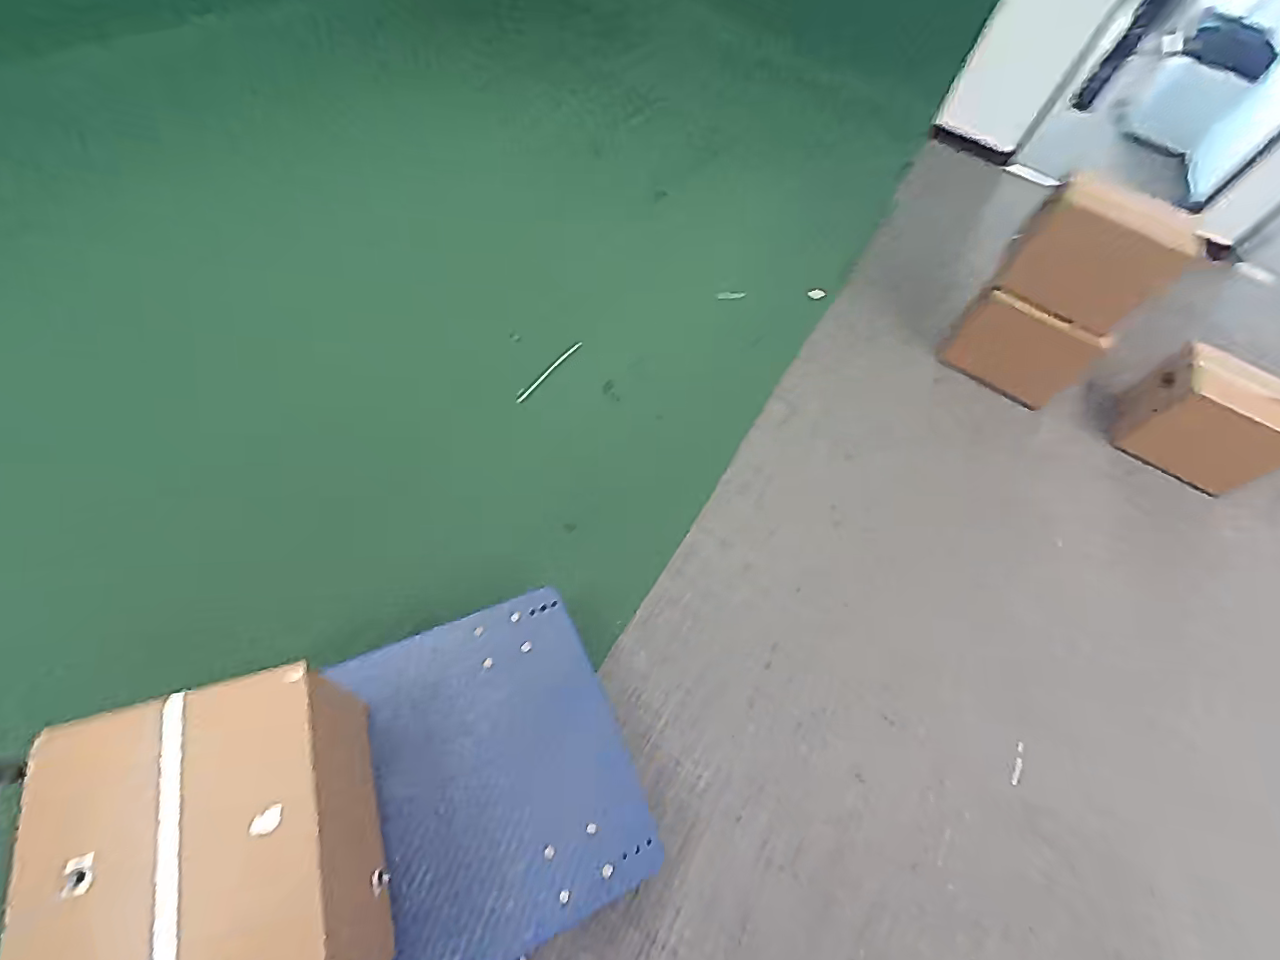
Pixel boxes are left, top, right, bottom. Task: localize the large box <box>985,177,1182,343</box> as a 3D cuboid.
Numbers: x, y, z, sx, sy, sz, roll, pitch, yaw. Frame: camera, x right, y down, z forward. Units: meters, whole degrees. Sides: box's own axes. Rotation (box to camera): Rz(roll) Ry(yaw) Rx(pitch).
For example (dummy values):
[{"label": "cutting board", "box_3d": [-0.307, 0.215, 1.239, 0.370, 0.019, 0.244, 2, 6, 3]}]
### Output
[{"label": "large box", "box_3d": [1.458, -0.736, 1.814, 0.408, 0.320, 0.320, 32, 54, 9]}]
